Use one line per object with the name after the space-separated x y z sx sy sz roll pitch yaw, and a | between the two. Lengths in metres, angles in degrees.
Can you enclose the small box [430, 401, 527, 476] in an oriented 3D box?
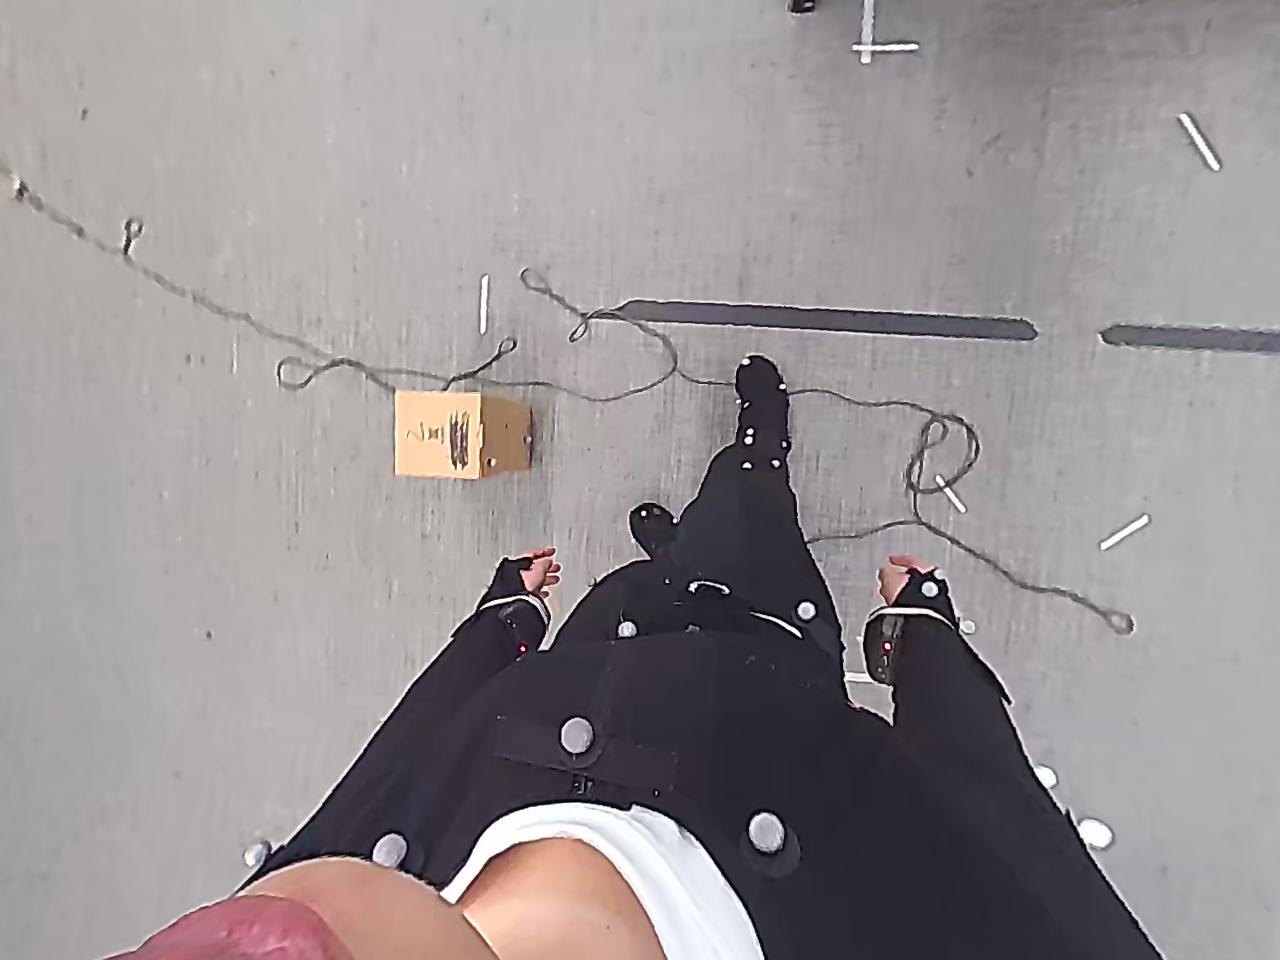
-0.379 -0.098 1.285 0.179 0.176 0.168 2 95 4 | small box
